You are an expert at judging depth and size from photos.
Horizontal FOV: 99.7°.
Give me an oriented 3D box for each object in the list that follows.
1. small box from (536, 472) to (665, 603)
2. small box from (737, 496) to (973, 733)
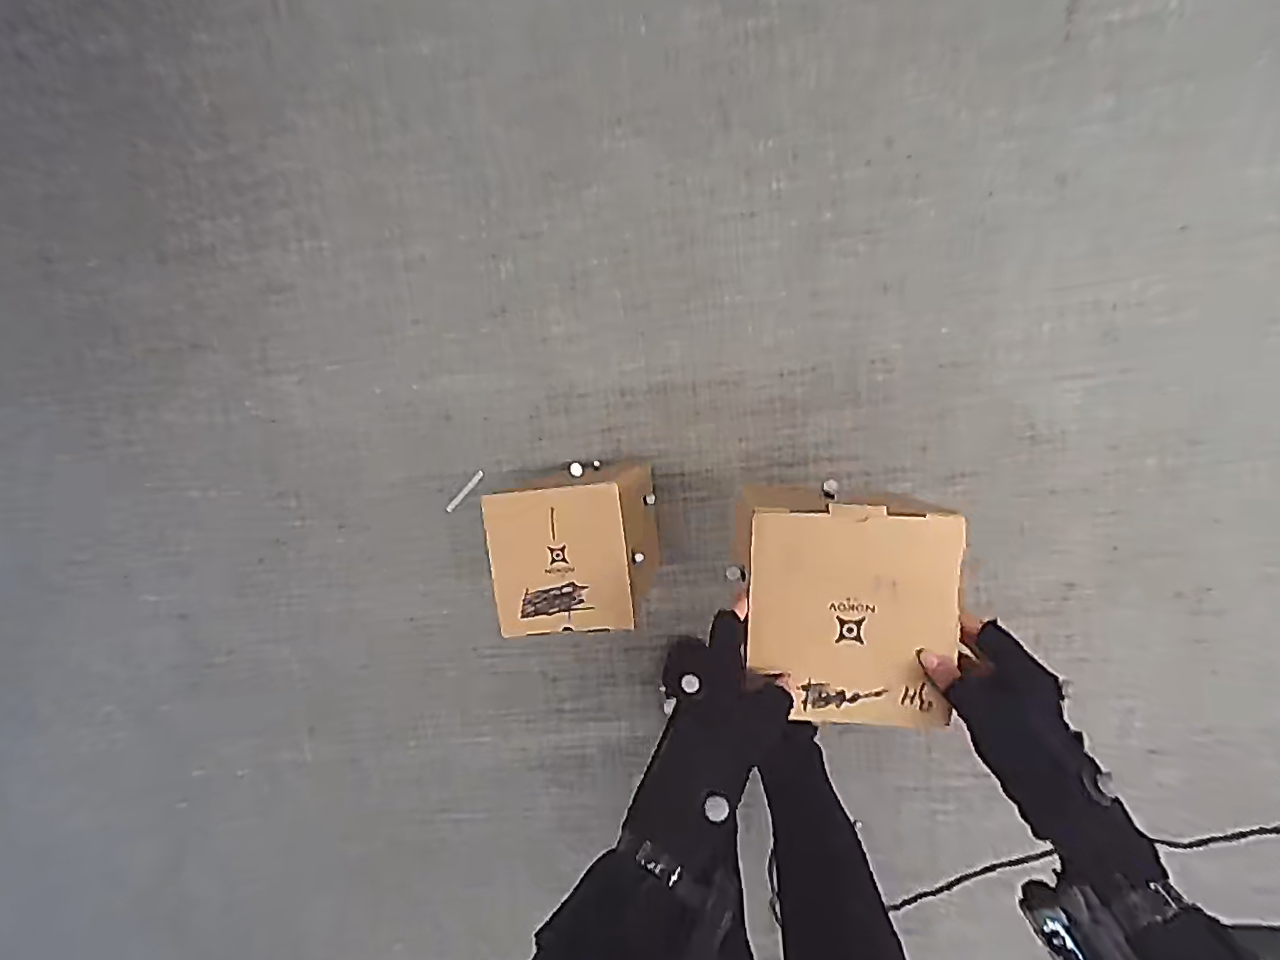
[{"bbox_3d":[-0.054,0.082,0.861,0.168,0.176,0.179,-5,97,9],"label":"small box"},{"bbox_3d":[0.183,0.108,0.510,0.168,0.176,0.179,1,95,5],"label":"small box"}]
